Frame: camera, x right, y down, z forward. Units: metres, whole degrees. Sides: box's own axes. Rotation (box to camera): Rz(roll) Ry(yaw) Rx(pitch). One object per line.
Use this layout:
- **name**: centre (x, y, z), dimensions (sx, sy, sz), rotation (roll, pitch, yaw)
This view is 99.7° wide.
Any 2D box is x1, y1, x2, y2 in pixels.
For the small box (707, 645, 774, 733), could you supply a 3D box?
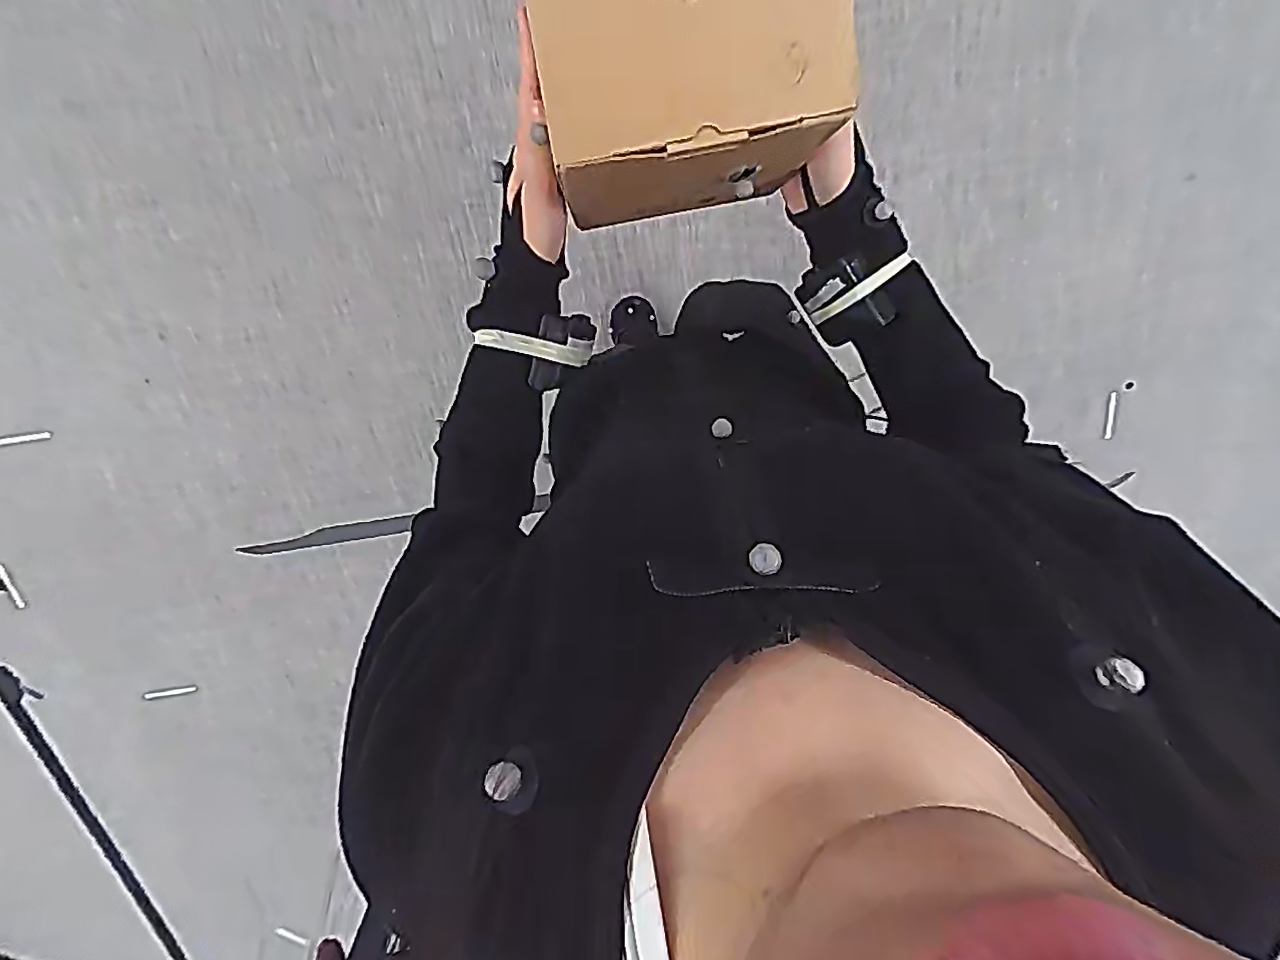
- **small box**: centre (0.303, 0.632, 1.645), dimensions (0.168, 0.176, 0.179), rotation (-8, 109, -1)
